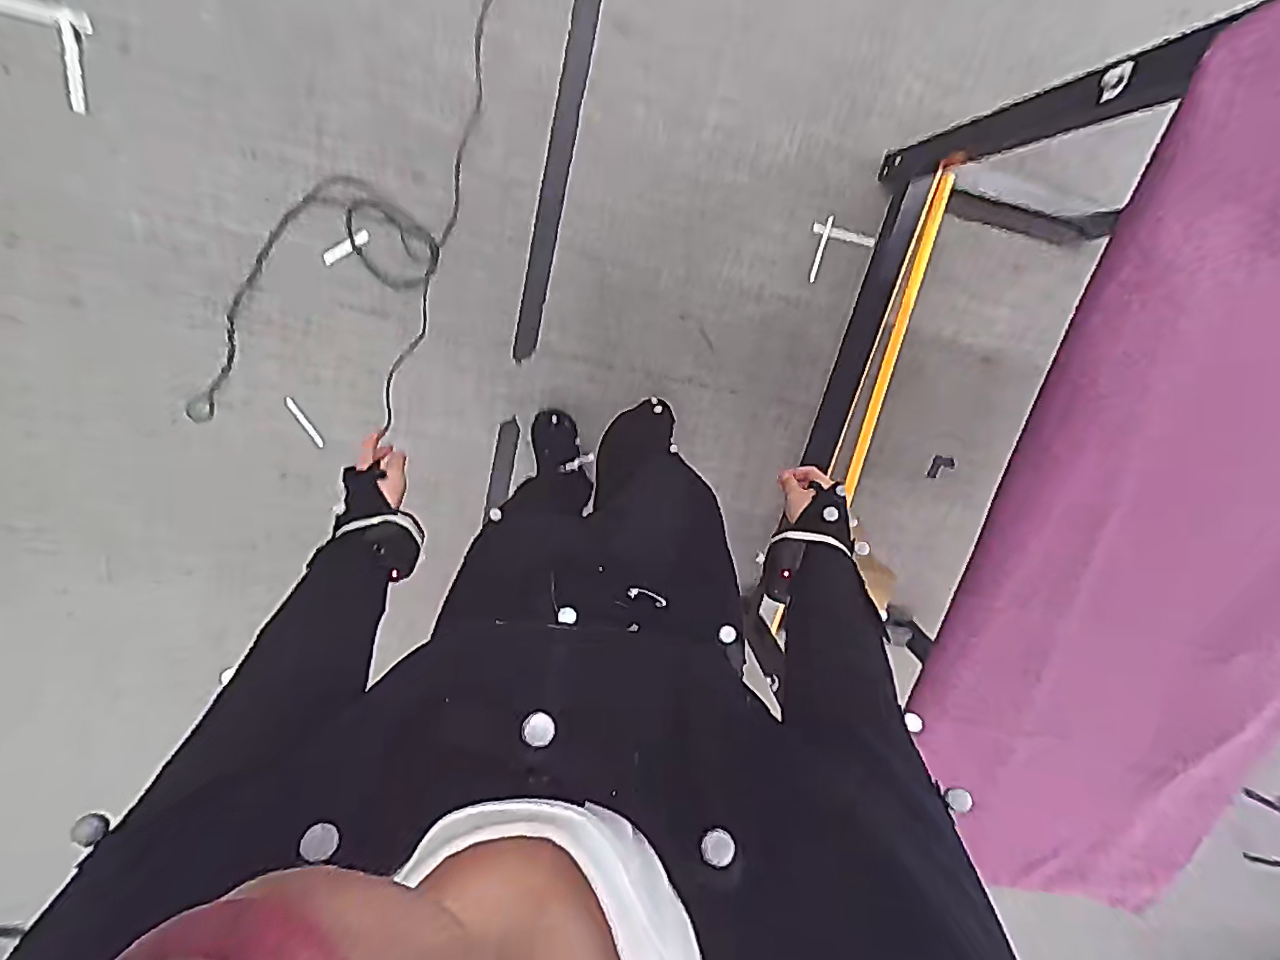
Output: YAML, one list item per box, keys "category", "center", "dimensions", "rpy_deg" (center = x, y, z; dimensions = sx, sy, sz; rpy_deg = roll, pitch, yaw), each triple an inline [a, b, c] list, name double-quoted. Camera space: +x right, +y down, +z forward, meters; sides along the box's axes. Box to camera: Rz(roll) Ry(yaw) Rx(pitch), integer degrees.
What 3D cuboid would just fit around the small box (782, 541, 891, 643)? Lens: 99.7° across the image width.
- category: "small box"
  center: [0.465, 0.266, 1.309]
  dimensions: [0.168, 0.176, 0.179]
  rpy_deg: [9, 107, -10]
